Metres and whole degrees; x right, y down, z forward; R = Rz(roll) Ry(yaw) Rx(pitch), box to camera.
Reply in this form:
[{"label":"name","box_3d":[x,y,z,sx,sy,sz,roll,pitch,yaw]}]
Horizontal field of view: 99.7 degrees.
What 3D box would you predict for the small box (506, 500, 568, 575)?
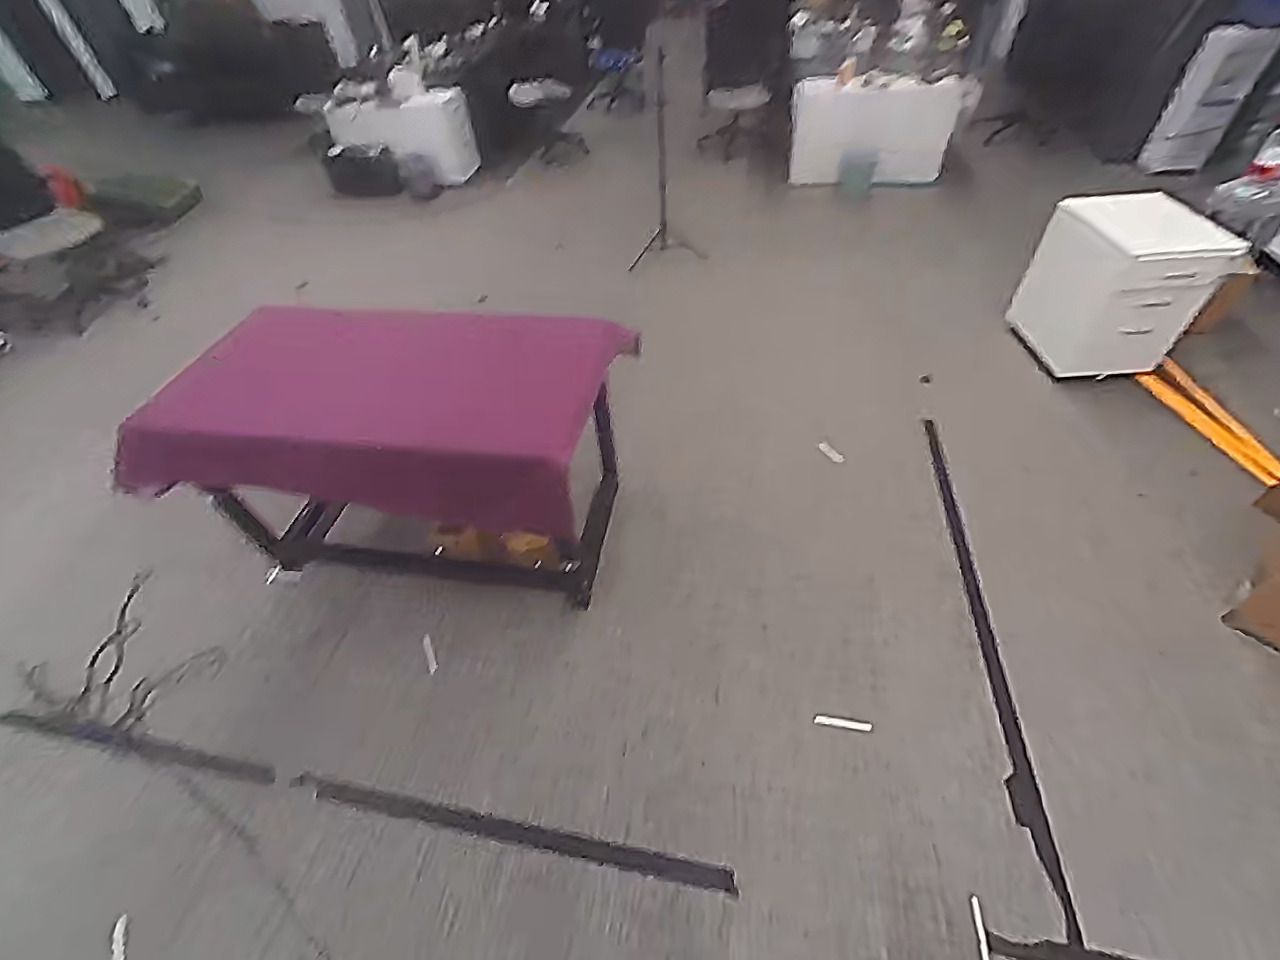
[{"label":"small box","box_3d":[-0.364,0.205,1.913,0.168,0.176,0.179,-17,48,-9]}]
